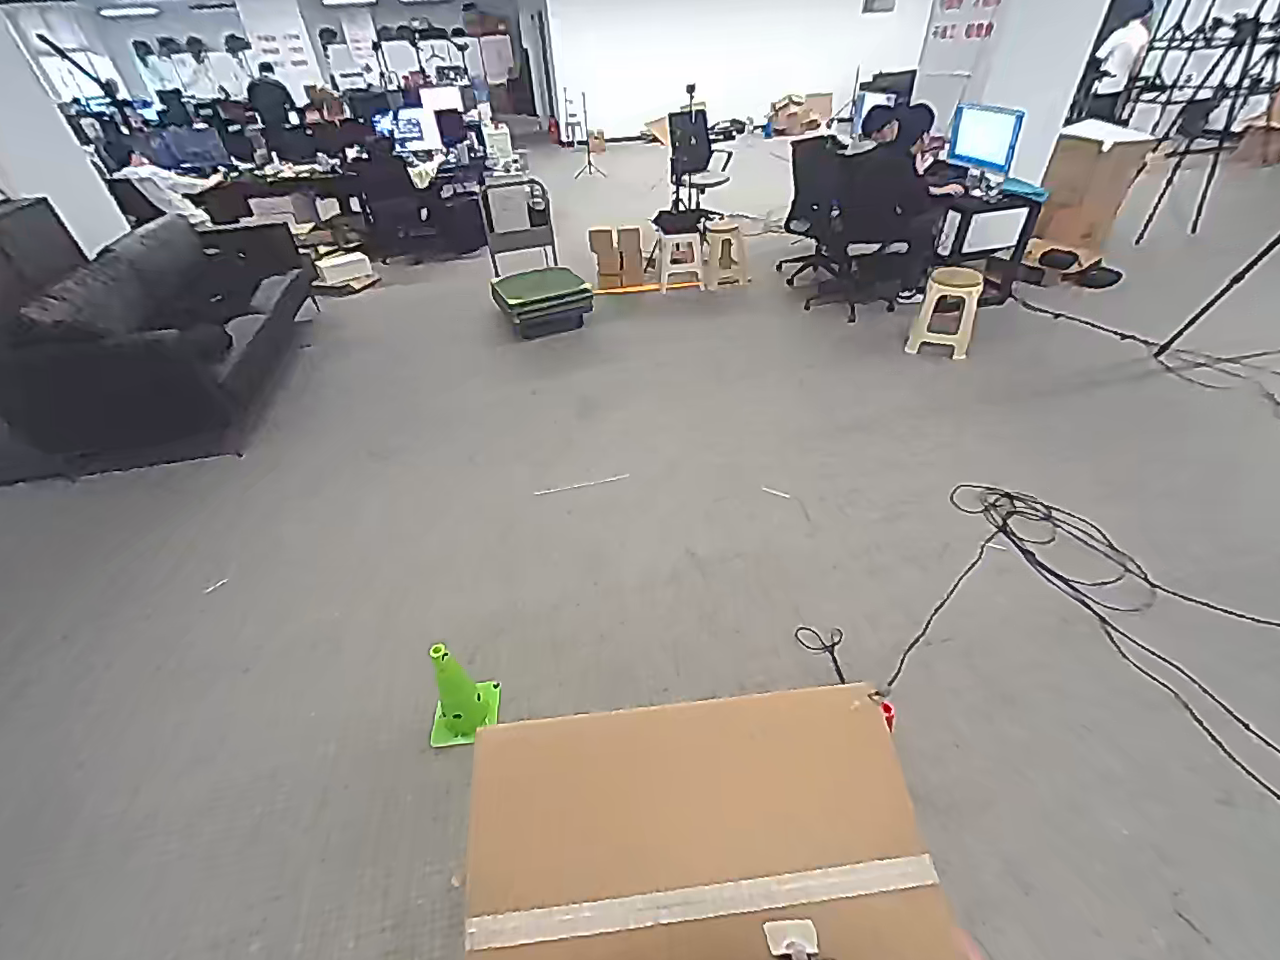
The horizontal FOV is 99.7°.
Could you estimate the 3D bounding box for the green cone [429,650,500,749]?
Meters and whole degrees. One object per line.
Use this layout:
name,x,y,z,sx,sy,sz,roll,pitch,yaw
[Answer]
green cone,-0.564,0.622,1.622,0.200,0.368,0.202,-7,41,-3

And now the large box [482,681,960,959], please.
large box,0.059,0.441,0.598,0.408,0.320,0.320,-6,59,-4
